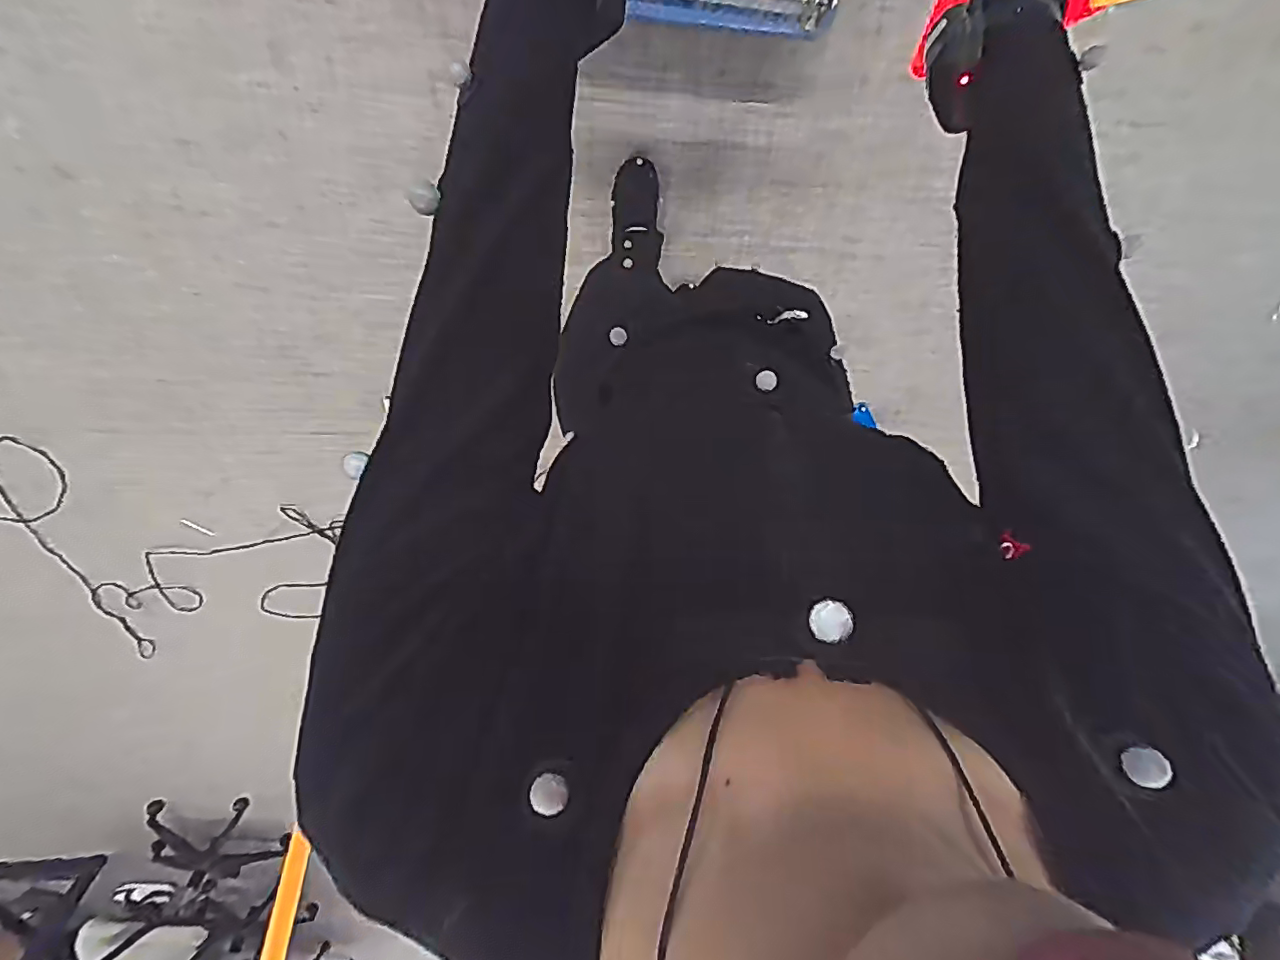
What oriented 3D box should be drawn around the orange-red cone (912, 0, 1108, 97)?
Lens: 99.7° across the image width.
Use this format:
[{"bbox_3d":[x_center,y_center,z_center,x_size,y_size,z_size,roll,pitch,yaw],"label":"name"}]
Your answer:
[{"bbox_3d":[0.704,-0.847,0.986,0.198,0.360,0.199,10,122,-10],"label":"orange-red cone"}]
